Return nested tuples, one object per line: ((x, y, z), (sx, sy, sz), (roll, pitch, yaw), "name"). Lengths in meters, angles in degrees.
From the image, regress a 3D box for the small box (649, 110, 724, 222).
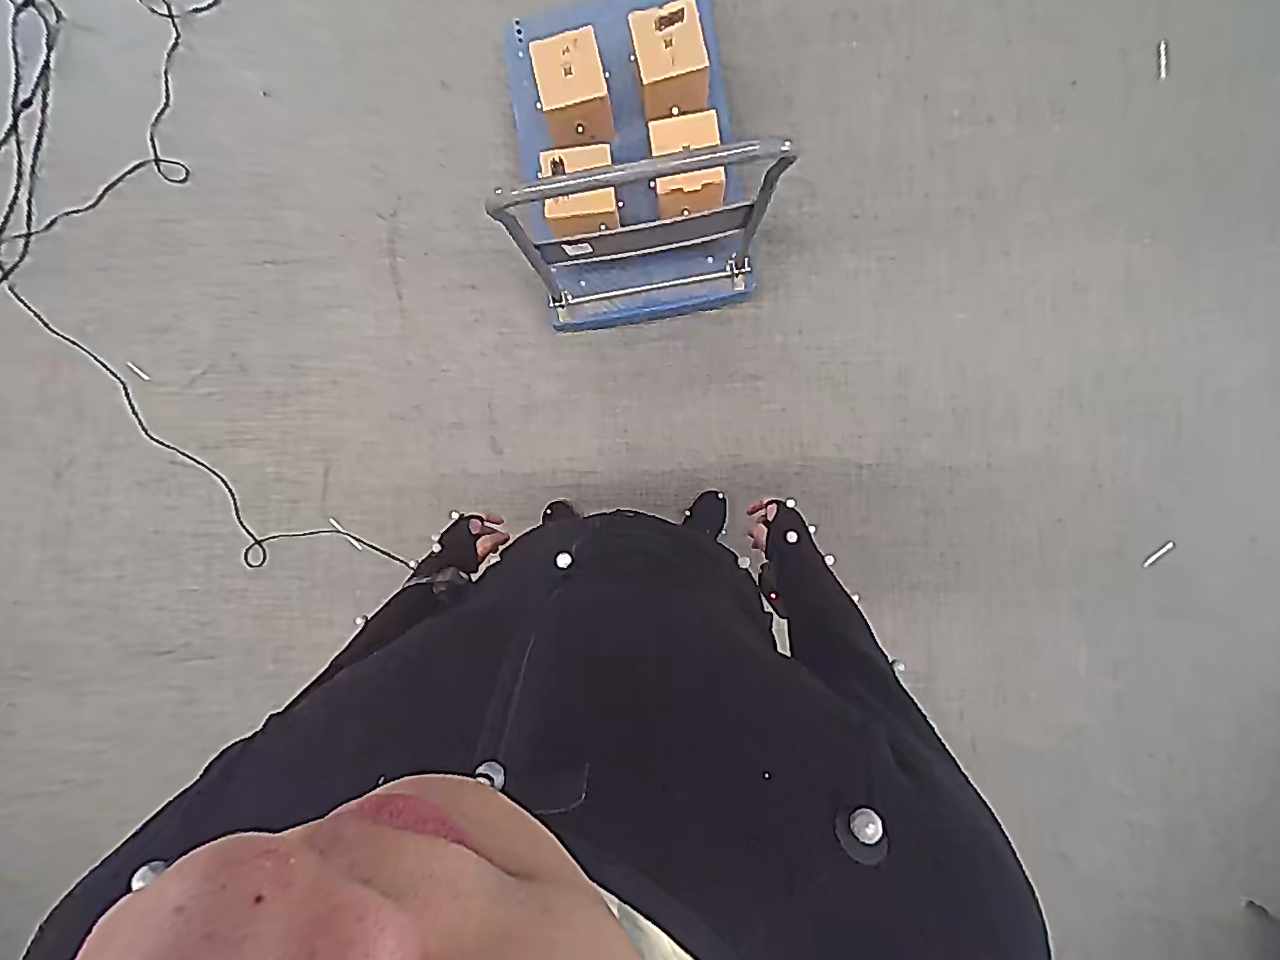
((0.115, -0.798, 1.388), (0.168, 0.176, 0.179), (-9, 90, 4), "small box")

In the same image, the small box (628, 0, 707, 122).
((0.071, -1.064, 1.388), (0.168, 0.176, 0.179), (-13, 90, 5), "small box")

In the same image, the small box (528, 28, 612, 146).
((-0.174, -1.007, 1.406), (0.168, 0.176, 0.179), (-13, 89, 3), "small box")
